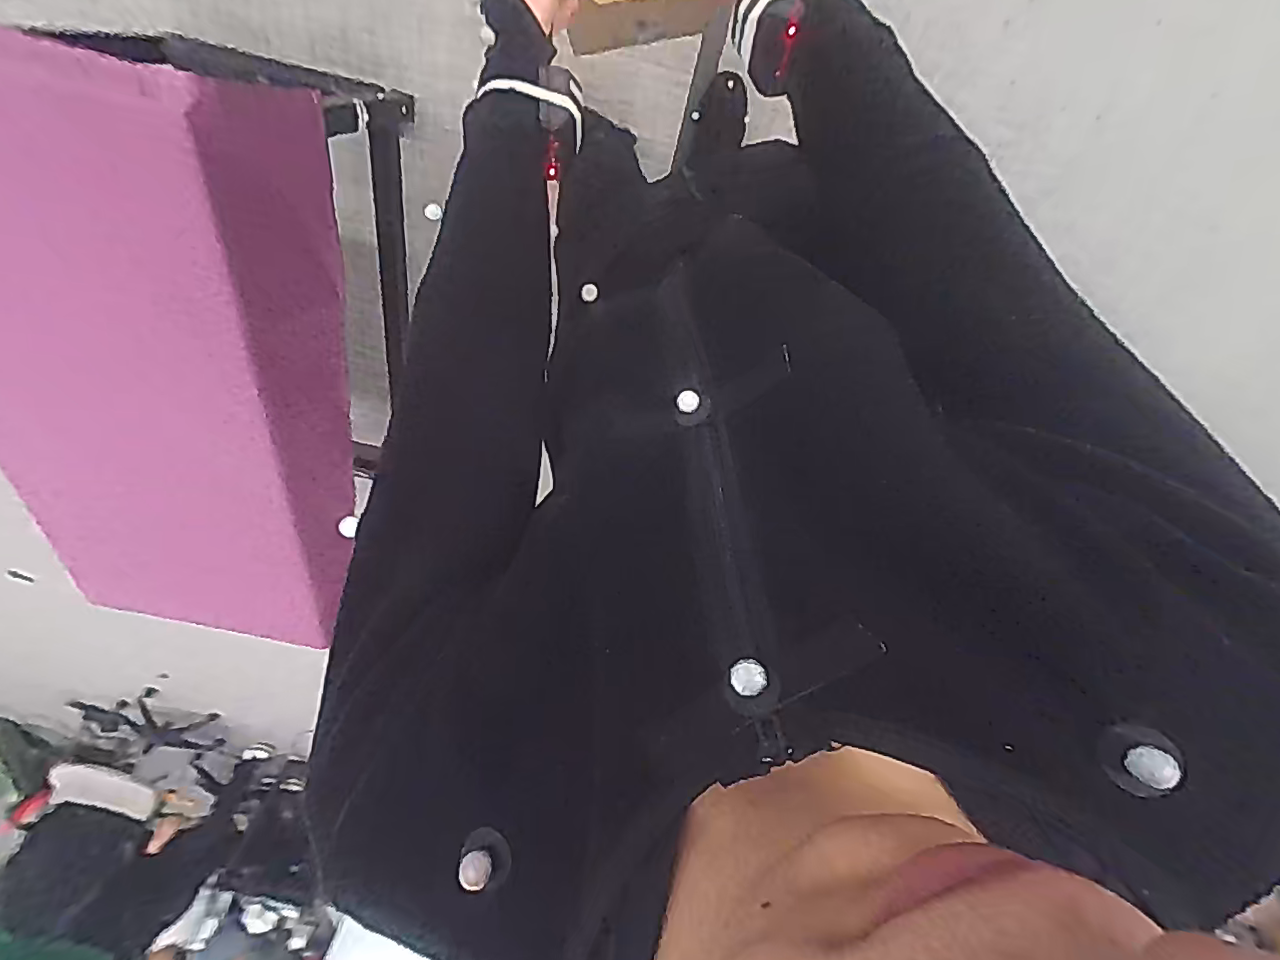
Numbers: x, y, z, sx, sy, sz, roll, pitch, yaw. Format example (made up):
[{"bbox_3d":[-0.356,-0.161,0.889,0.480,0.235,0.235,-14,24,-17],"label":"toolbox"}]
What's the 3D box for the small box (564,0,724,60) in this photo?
[{"bbox_3d":[-0.004,-0.562,0.537,0.168,0.176,0.179,-7,111,3],"label":"small box"}]
